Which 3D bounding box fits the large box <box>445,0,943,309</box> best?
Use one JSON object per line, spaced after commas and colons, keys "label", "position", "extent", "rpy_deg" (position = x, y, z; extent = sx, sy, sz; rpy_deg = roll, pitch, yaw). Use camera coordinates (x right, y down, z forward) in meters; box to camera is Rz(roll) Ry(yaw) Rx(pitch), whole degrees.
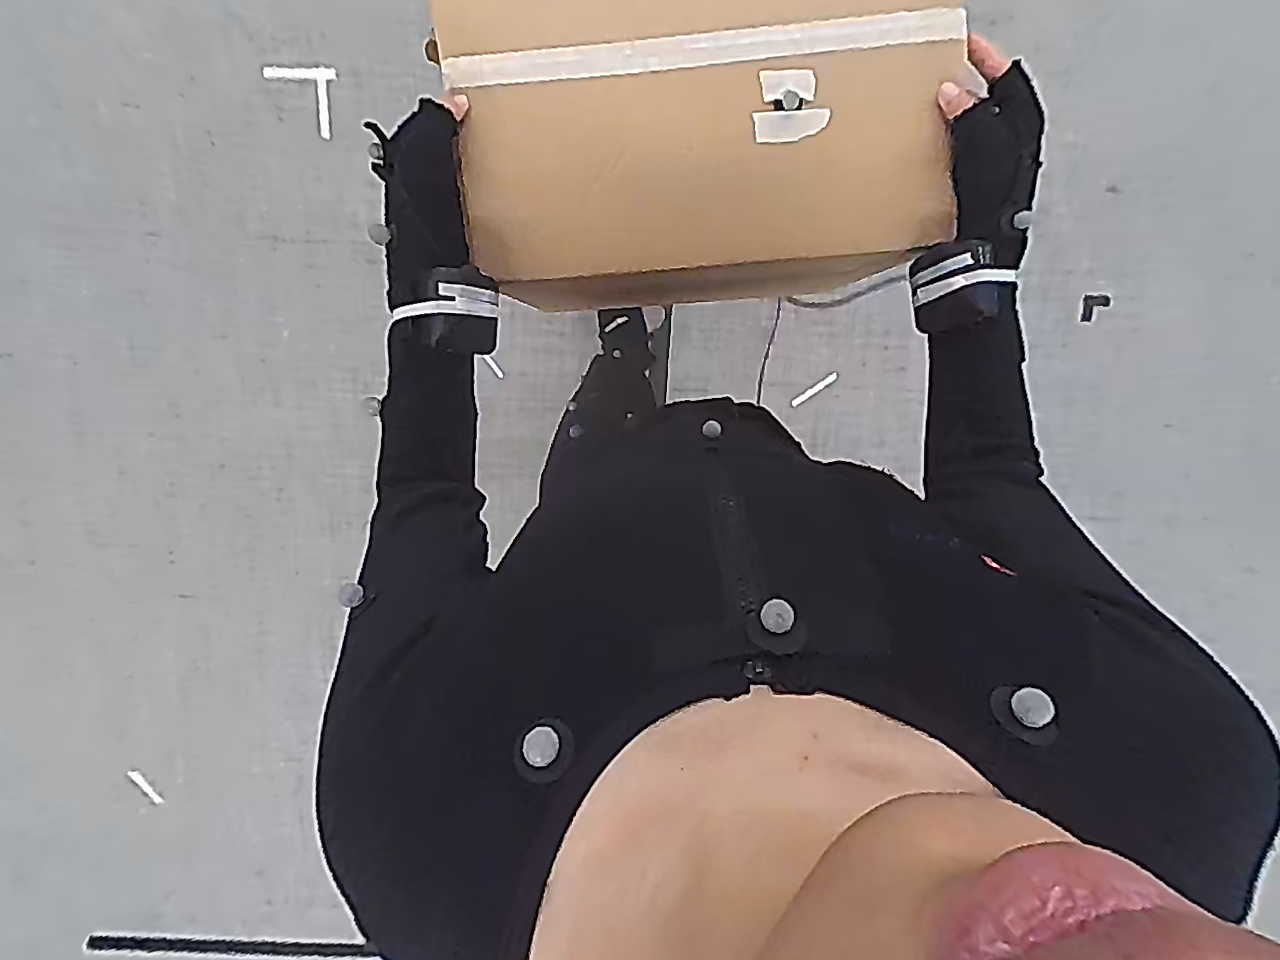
{"label": "large box", "position": [0.045, -0.377, 0.584], "extent": [0.408, 0.320, 0.320], "rpy_deg": [-4, 103, 1]}
